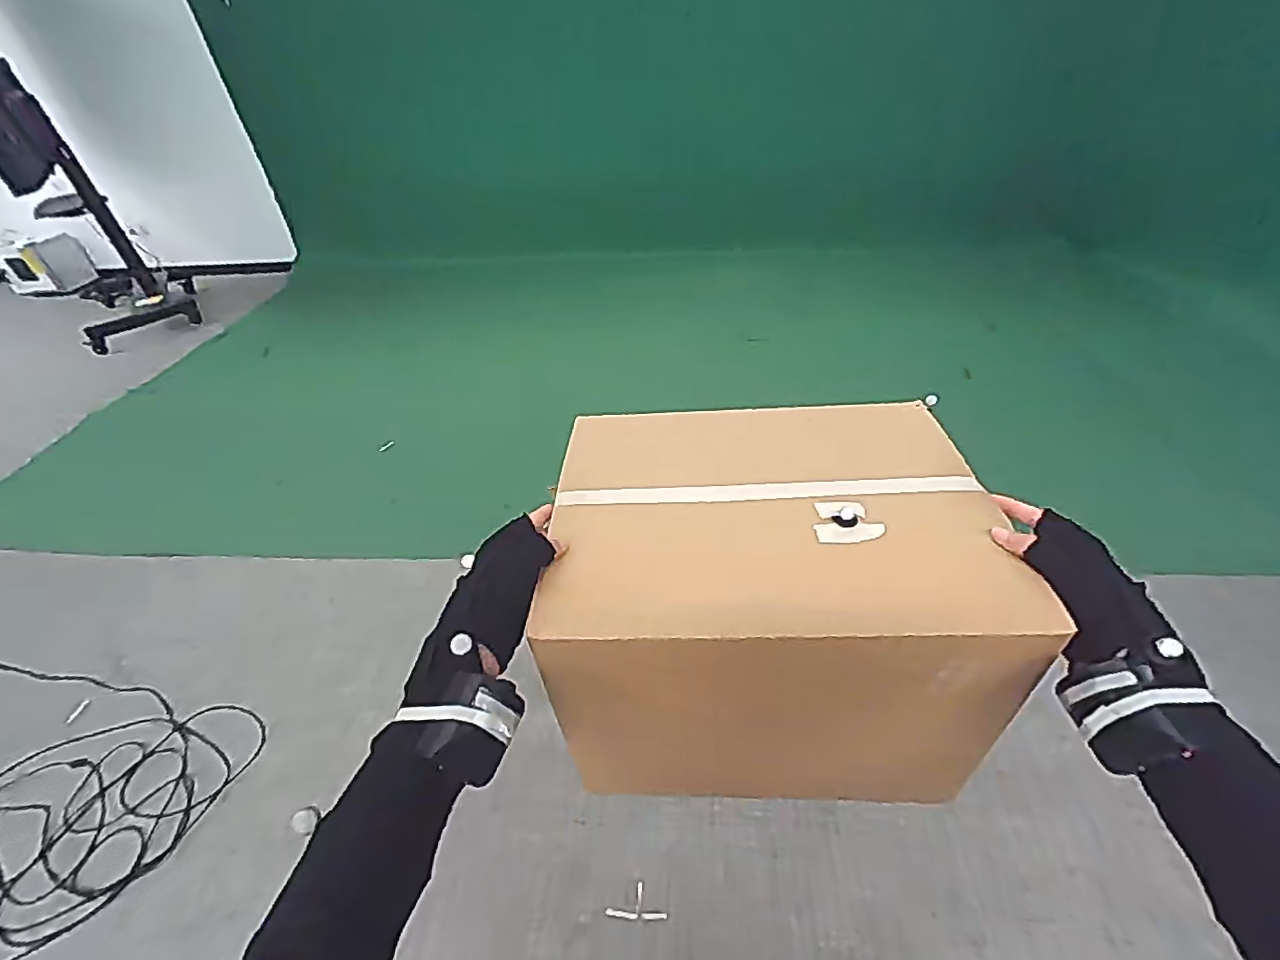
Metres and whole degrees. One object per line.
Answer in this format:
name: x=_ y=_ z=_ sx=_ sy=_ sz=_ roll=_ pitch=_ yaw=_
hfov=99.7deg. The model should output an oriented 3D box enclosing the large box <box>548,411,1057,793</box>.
large box: x=0.134 y=0.137 z=0.628 sx=0.408 sy=0.320 sz=0.320 roll=-2 pitch=40 yaw=4
